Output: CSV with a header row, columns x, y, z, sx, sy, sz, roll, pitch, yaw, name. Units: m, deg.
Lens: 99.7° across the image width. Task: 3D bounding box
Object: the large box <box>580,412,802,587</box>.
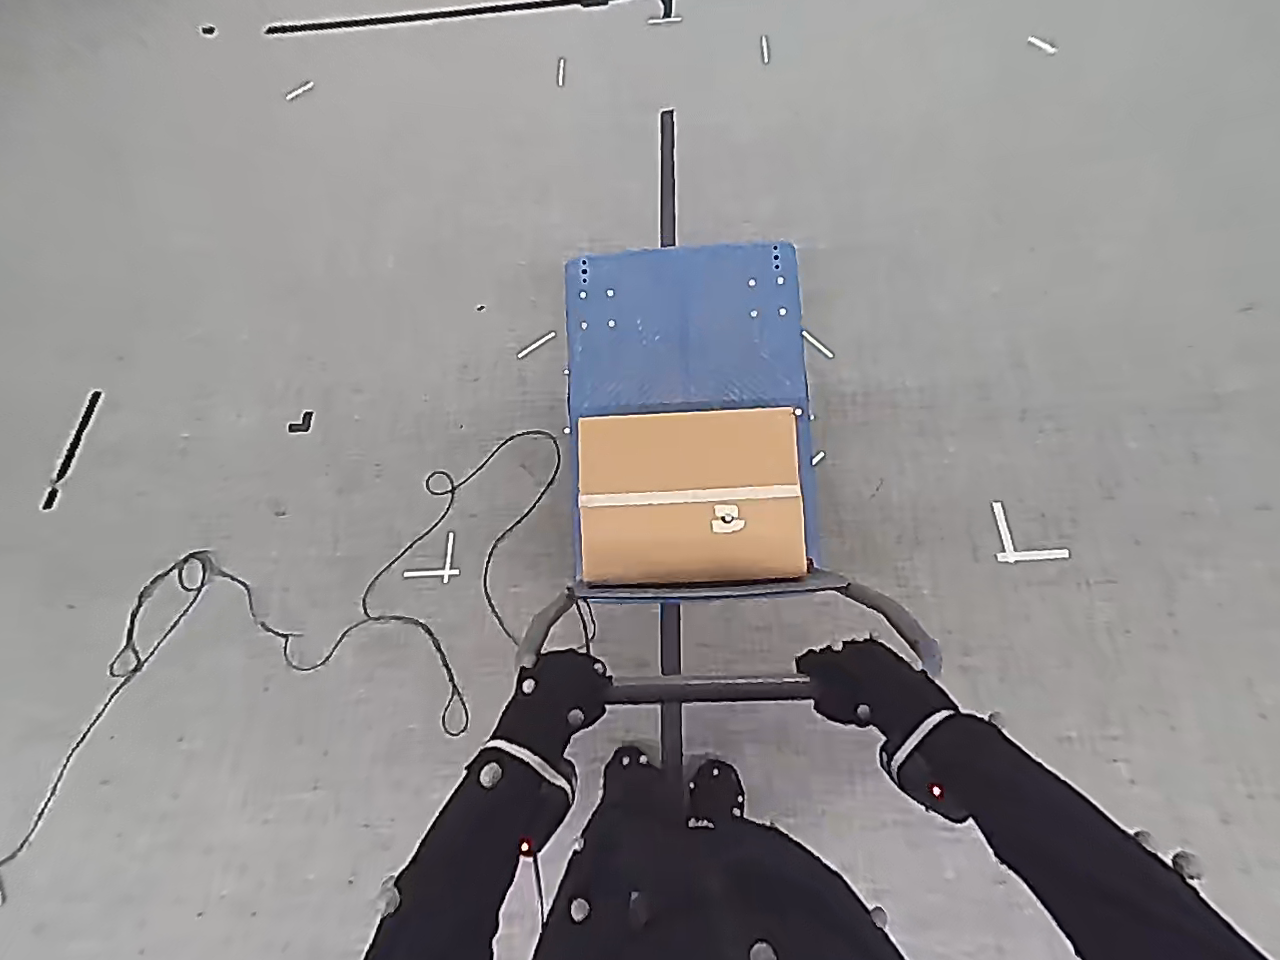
x,y,z,sx,sy,sz,roll,pitch,yaw,name
0.096,0.053,1.157,0.408,0.320,0.320,-3,84,2,large box
